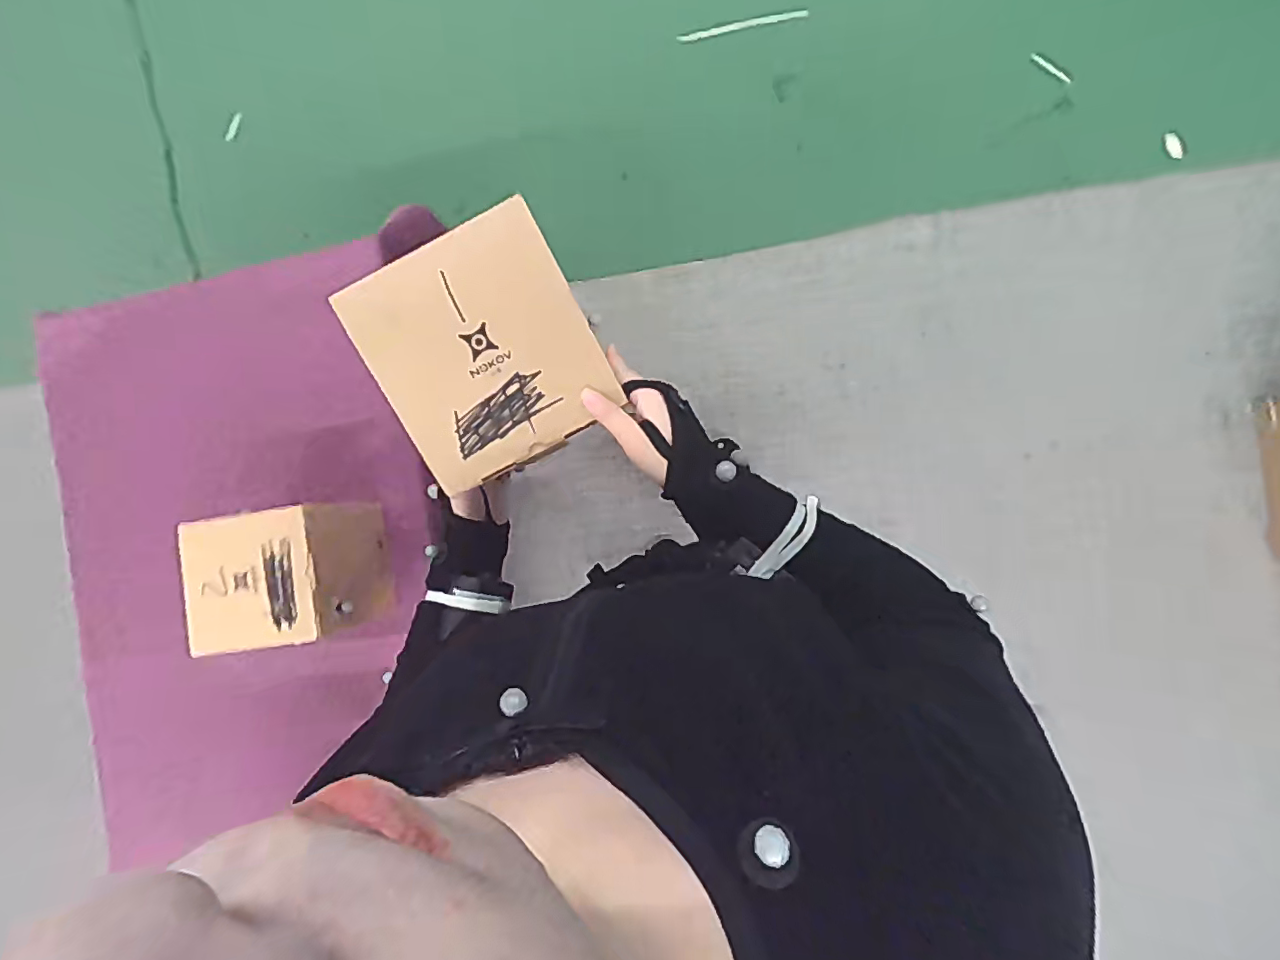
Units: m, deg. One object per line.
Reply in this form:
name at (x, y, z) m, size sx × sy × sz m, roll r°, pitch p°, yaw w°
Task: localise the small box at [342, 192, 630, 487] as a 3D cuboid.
small box at (-0.118, -0.117, 0.494) m, size 0.168 × 0.176 × 0.179 m, roll -27°, pitch 100°, yaw 2°
